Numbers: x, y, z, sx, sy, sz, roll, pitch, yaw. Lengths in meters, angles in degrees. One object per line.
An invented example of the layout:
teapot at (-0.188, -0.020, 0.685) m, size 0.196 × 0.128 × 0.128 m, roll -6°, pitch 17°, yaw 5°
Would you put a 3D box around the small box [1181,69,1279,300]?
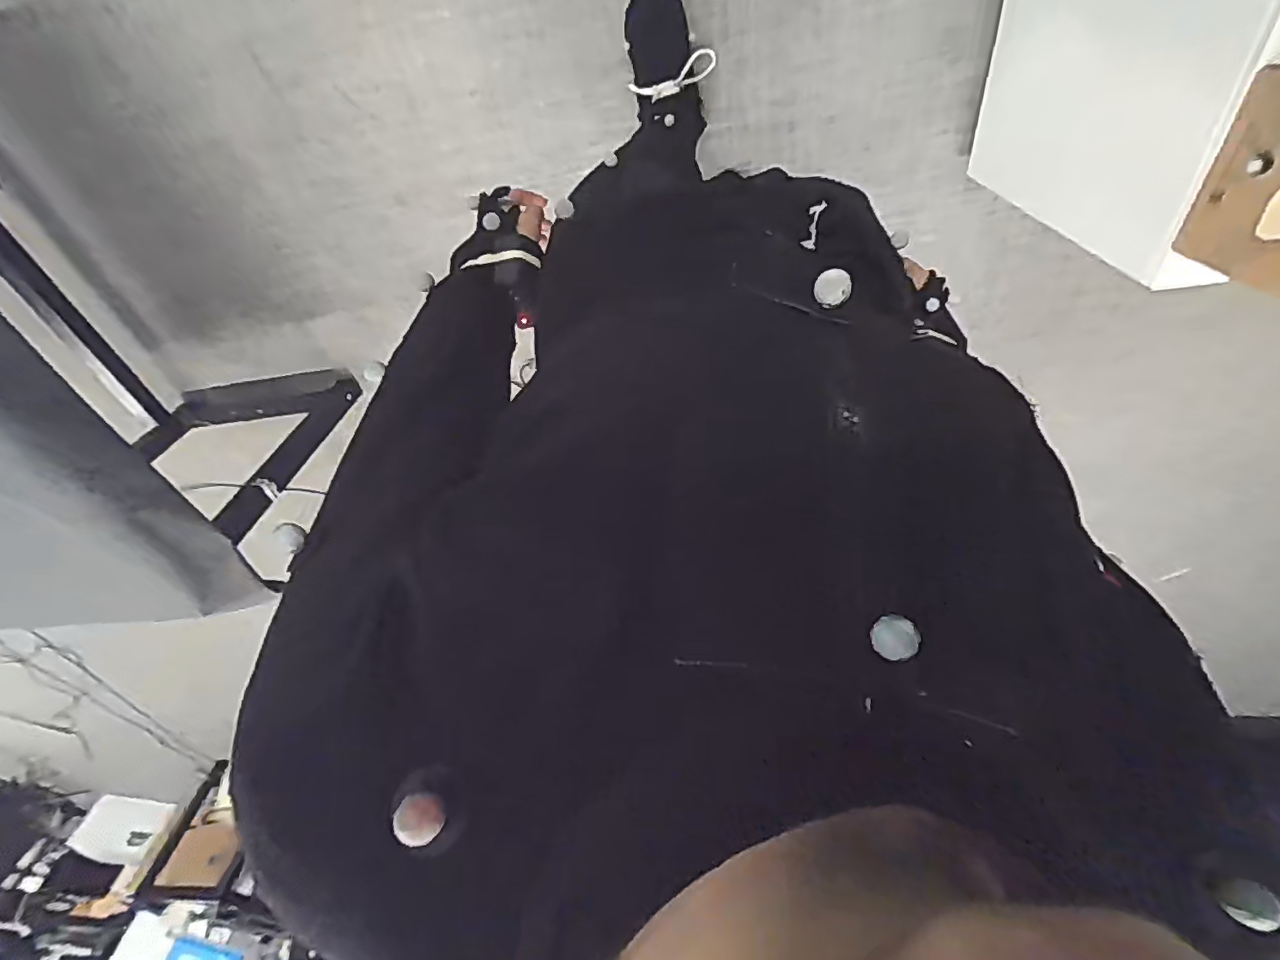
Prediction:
small box at (0.653, -0.267, 0.465) m, size 0.179 × 0.176 × 0.168 m, roll -4°, pitch 131°, yaw 8°
